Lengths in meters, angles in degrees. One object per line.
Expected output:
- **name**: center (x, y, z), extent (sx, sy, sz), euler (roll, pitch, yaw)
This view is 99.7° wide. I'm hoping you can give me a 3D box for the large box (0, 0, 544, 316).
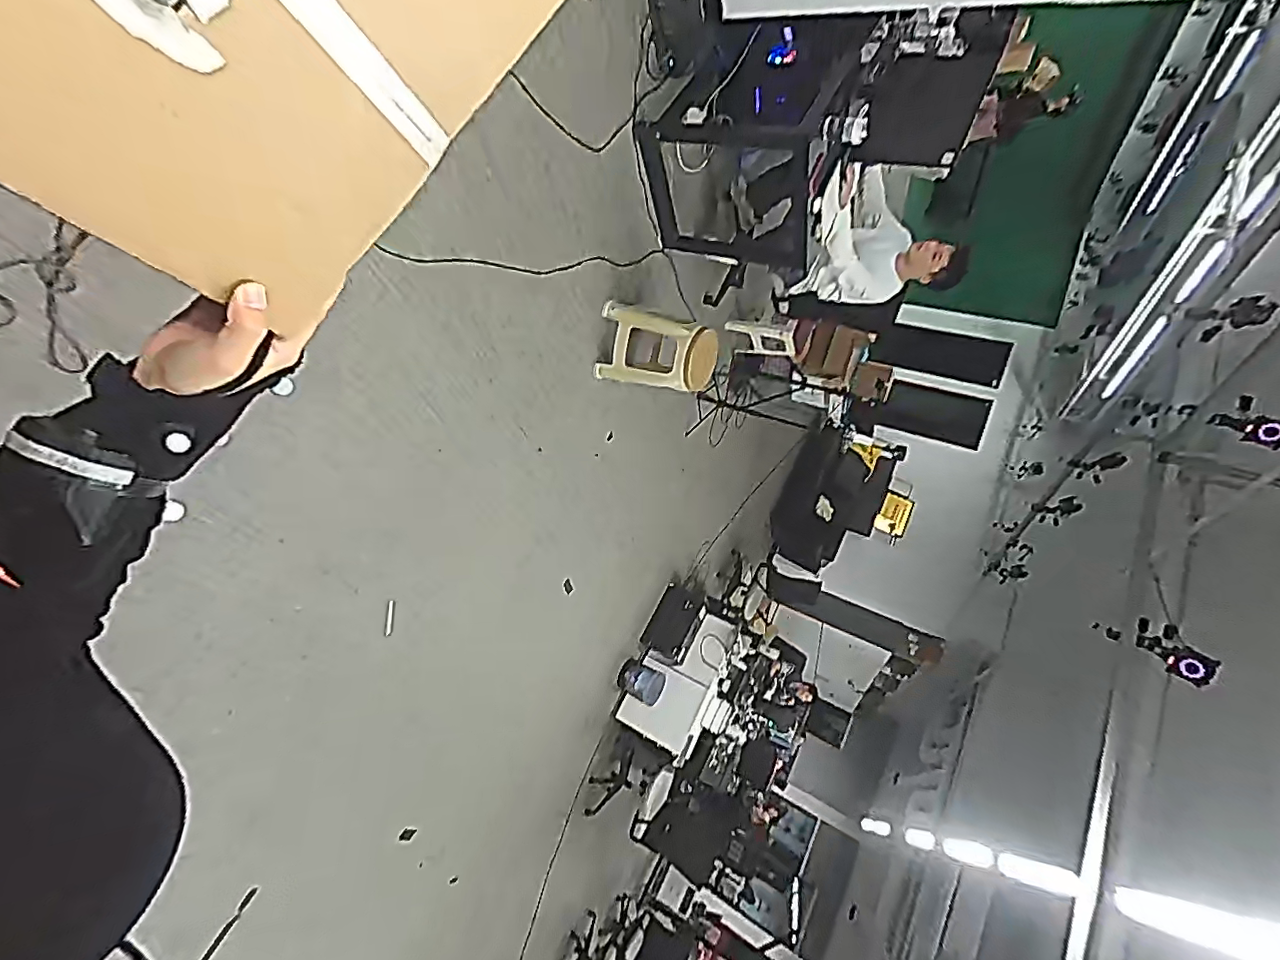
- **large box**: center (-0.310, -0.358, 0.243), extent (0.320, 0.320, 0.408), euler (-49, 154, 3)
